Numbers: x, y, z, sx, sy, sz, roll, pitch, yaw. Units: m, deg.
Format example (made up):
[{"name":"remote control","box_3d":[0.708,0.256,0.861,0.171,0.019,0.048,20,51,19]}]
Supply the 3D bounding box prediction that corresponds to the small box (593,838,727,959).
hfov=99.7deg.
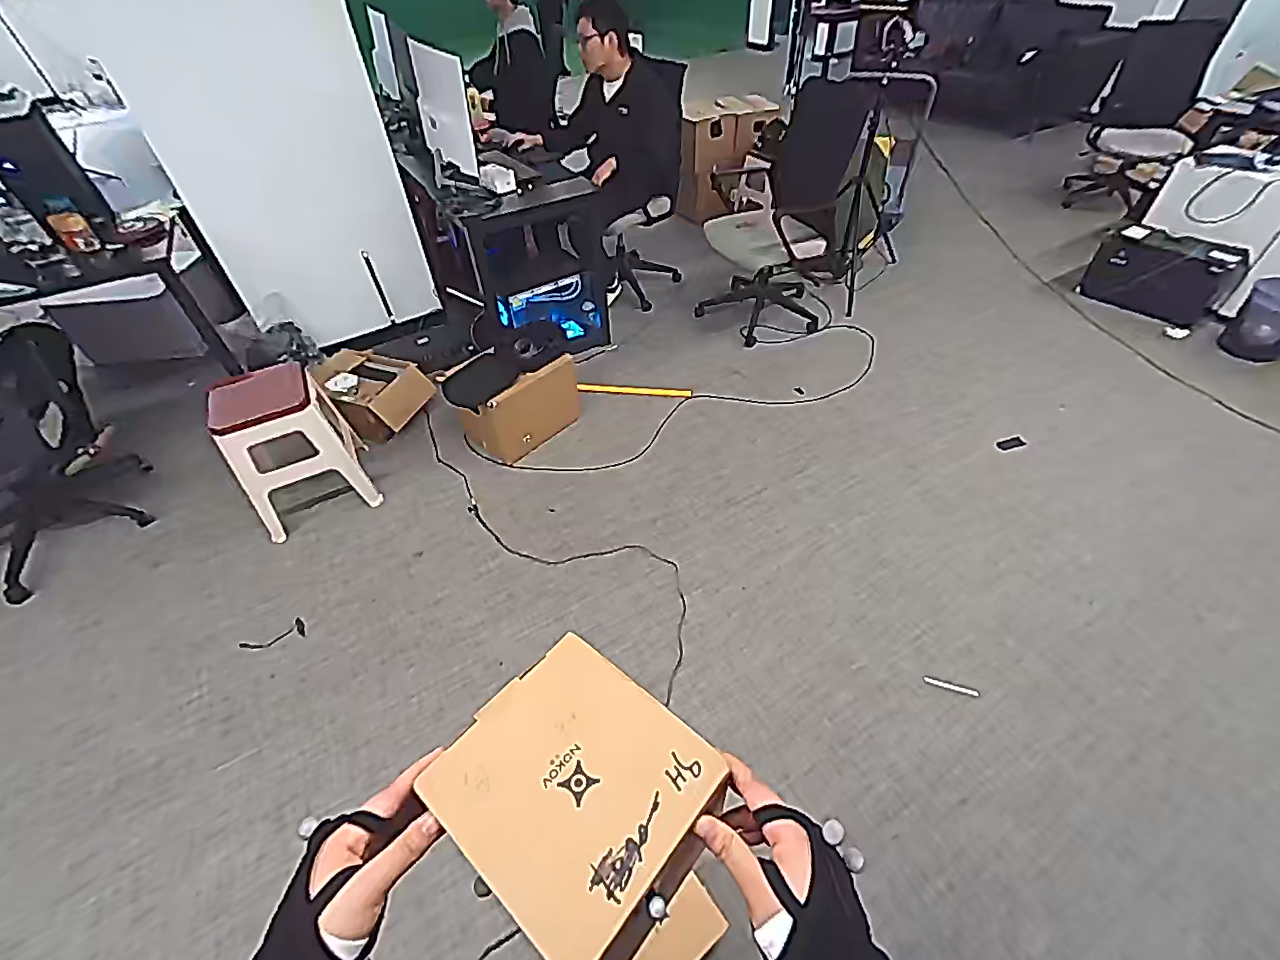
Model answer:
[{"name":"small box","box_3d":[0.036,0.801,0.978,0.179,0.176,0.168,-29,53,-25]}]
